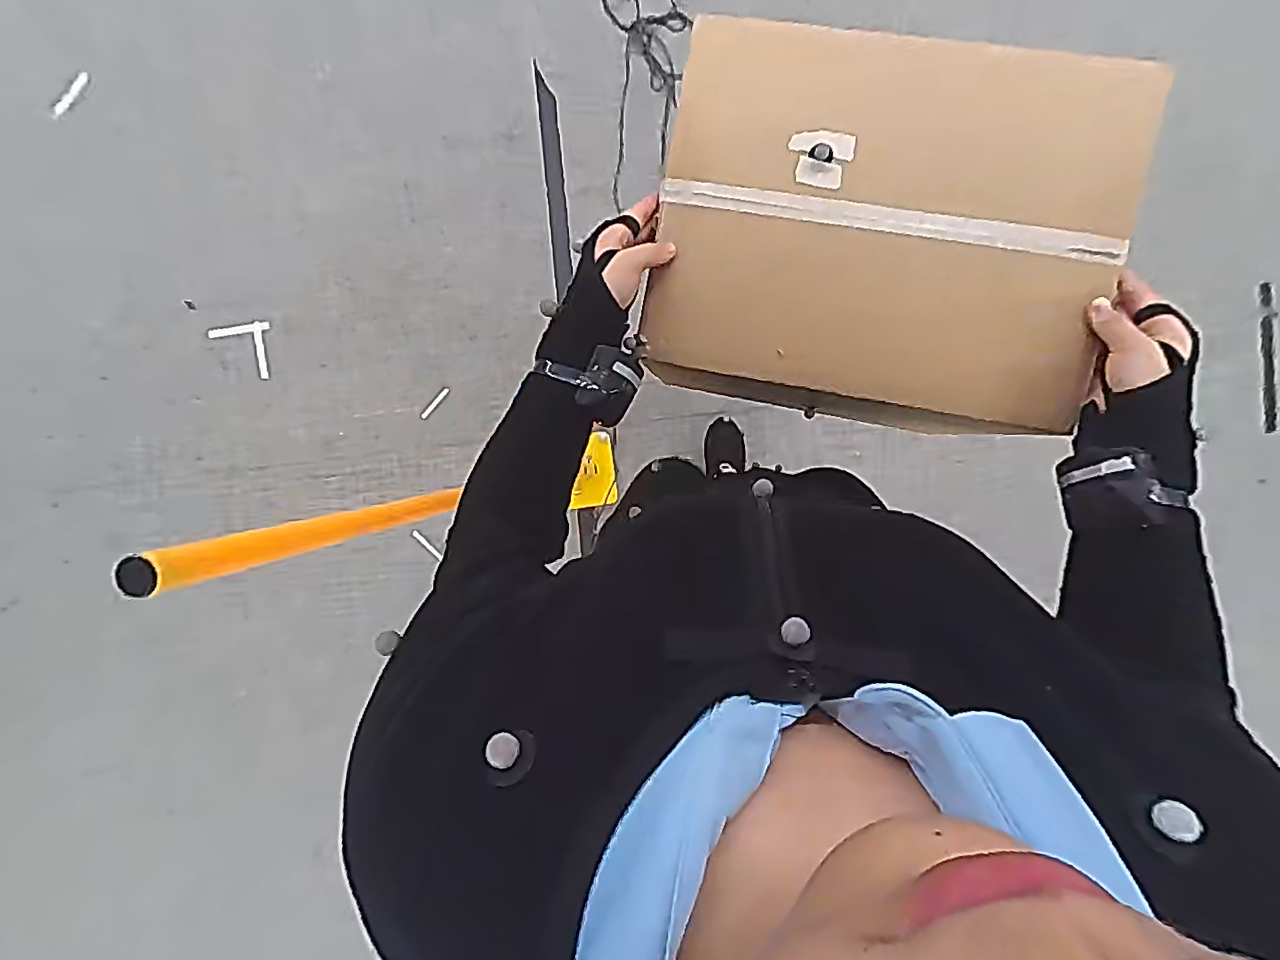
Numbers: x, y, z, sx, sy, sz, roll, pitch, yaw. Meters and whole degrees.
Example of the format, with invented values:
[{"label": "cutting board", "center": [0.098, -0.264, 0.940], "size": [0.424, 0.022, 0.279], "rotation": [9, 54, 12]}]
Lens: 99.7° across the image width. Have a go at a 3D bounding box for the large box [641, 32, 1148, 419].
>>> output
[{"label": "large box", "center": [0.239, -0.253, 0.647], "size": [0.408, 0.320, 0.320], "rotation": [11, 96, 7]}]
